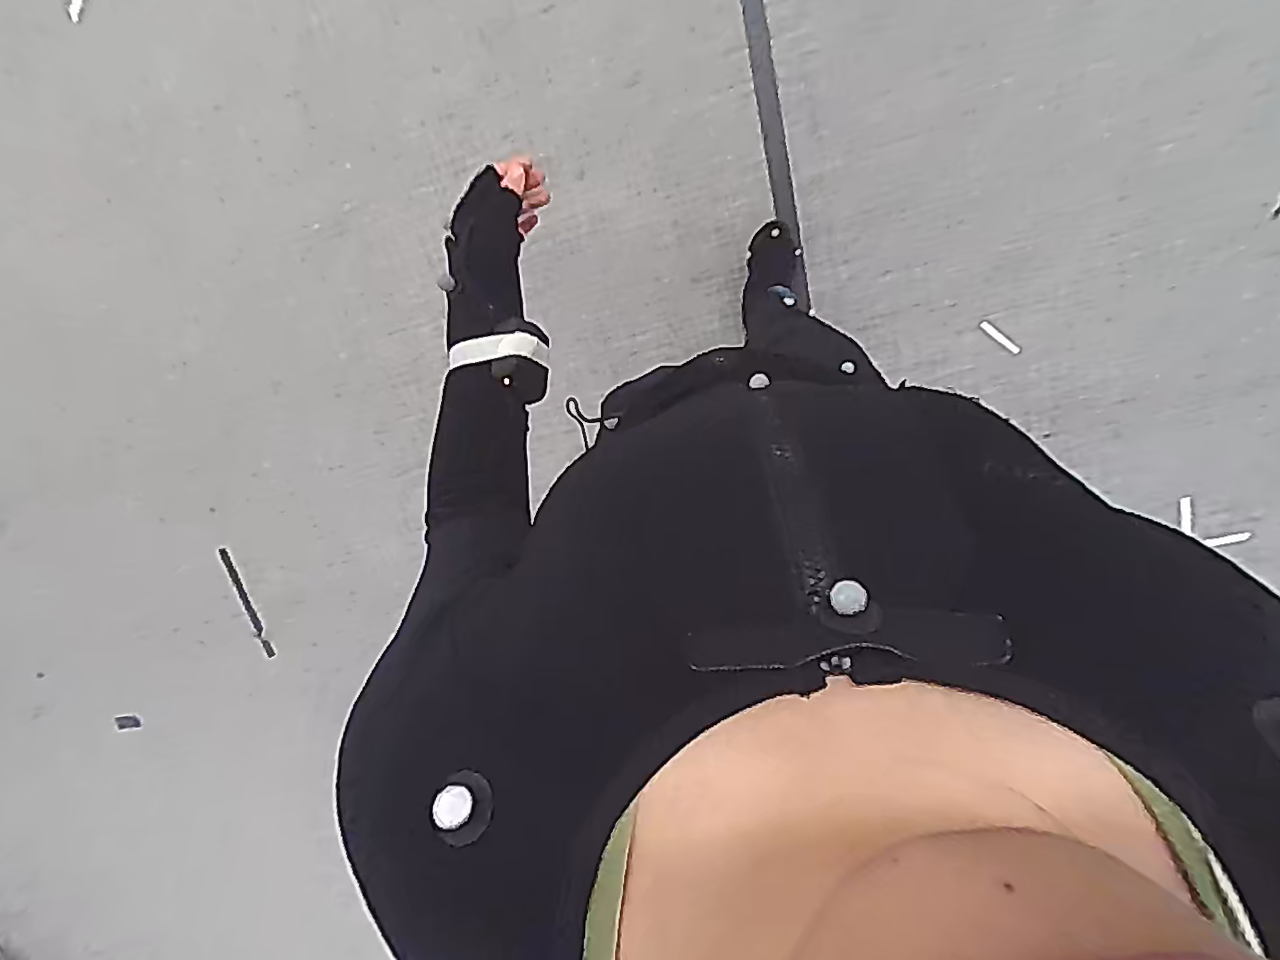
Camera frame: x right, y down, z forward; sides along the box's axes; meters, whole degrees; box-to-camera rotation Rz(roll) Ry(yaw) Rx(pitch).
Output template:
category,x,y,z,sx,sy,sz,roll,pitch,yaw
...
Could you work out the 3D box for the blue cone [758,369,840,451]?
category,x,y,z,sx,sy,sz,roll,pitch,yaw
blue cone,0.392,-0.123,1.225,0.193,0.380,0.192,-9,107,9
